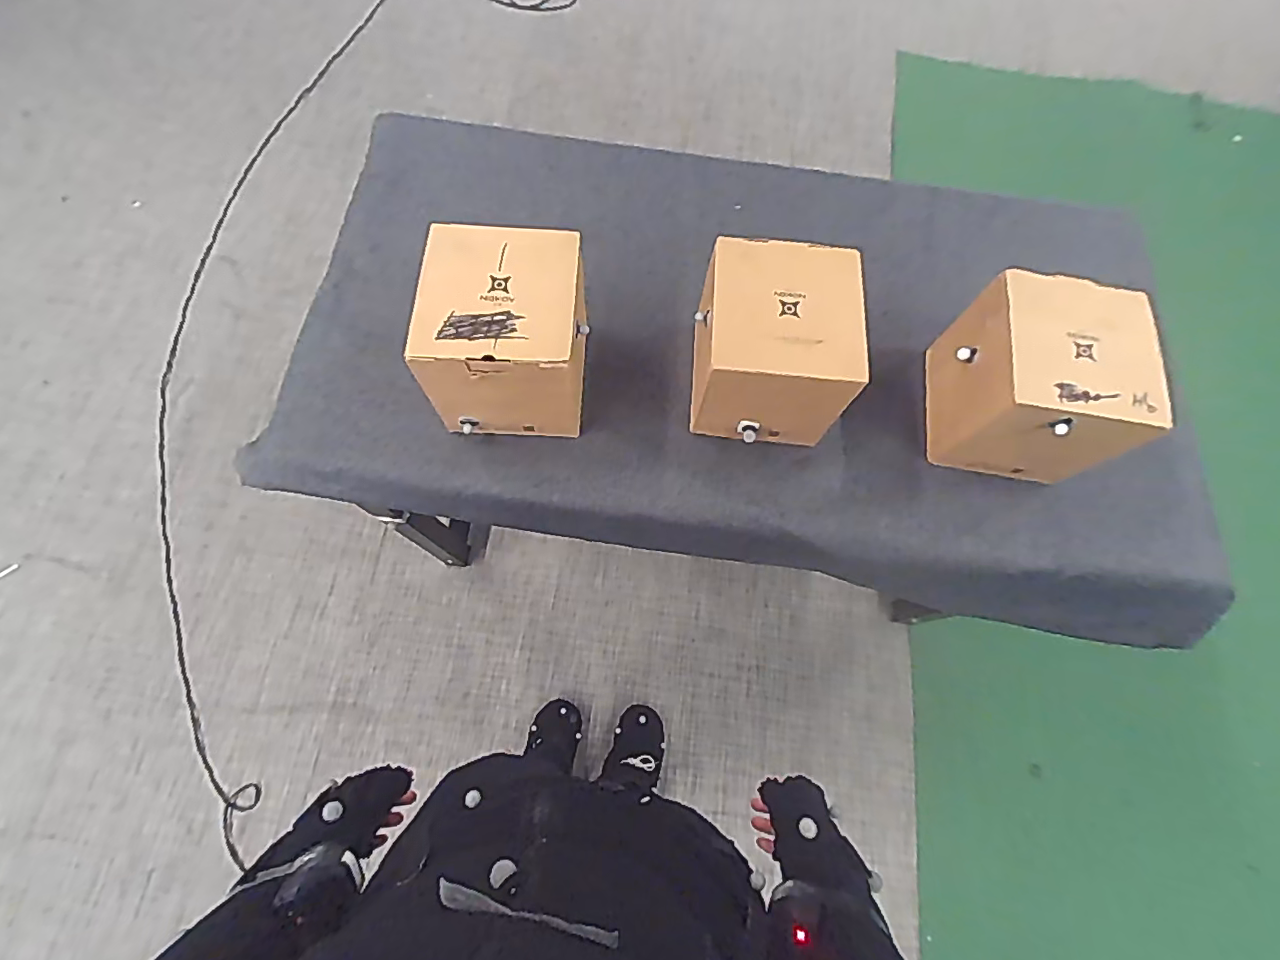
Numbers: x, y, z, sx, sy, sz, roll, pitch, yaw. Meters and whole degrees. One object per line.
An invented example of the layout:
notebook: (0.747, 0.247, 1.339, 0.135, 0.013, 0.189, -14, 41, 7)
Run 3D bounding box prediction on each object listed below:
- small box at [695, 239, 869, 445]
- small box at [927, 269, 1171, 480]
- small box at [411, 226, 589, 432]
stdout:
small box: (0.160, -0.161, 0.662, 0.168, 0.176, 0.179, 4, 71, 0)
small box: (0.473, -0.120, 0.659, 0.168, 0.176, 0.179, 9, 69, 2)
small box: (-0.150, -0.169, 0.646, 0.168, 0.176, 0.179, 2, 68, -2)
